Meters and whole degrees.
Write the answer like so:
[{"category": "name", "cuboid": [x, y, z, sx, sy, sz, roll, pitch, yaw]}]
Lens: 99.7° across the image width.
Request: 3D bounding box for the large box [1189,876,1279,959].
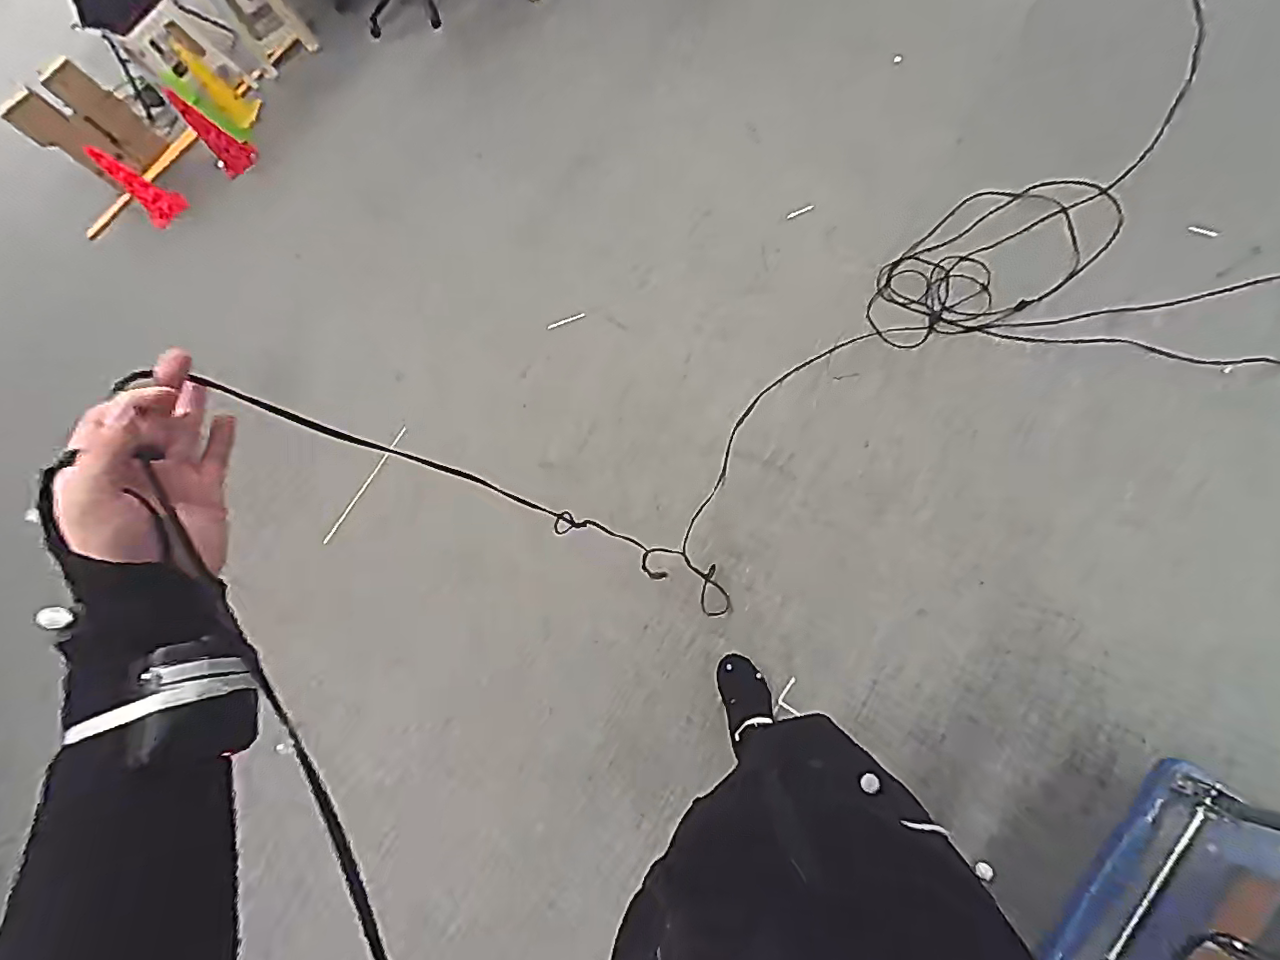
[{"category": "large box", "cuboid": [1.065, 0.860, 0.717, 0.408, 0.320, 0.320, 40, 84, 22]}]
